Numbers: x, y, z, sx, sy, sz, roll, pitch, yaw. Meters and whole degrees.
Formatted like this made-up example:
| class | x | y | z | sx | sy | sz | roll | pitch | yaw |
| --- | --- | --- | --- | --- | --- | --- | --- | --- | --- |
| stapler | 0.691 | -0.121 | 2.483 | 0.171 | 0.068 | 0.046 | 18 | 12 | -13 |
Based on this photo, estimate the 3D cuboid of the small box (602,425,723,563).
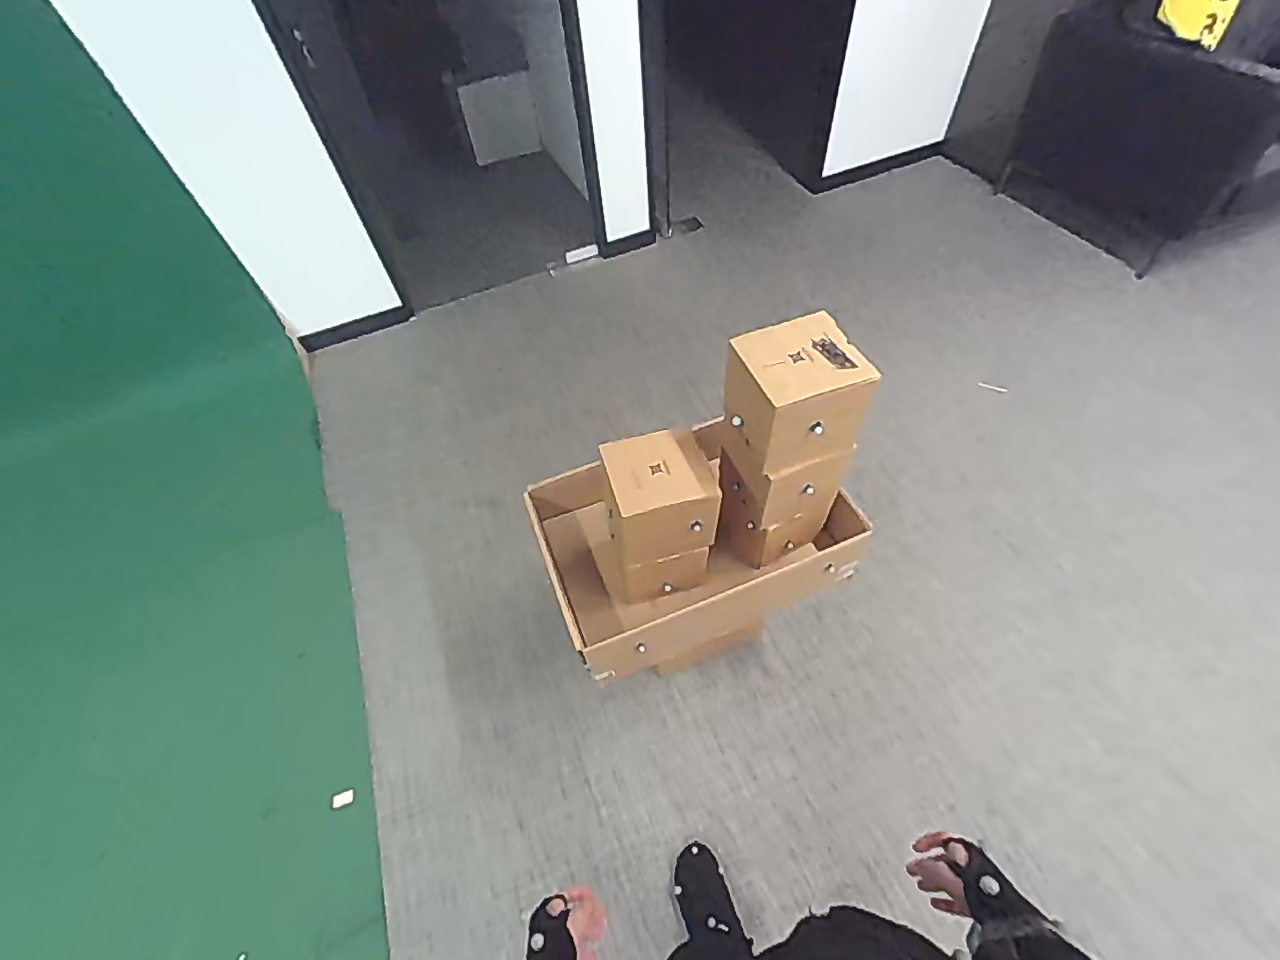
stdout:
| class | x | y | z | sx | sy | sz | roll | pitch | yaw |
| --- | --- | --- | --- | --- | --- | --- | --- | --- | --- |
| small box | 0.036 | 0.029 | 0.990 | 0.179 | 0.176 | 0.168 | -13 | 53 | -8 |

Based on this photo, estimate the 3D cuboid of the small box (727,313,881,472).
| class | x | y | z | sx | sy | sz | roll | pitch | yaw |
| --- | --- | --- | --- | --- | --- | --- | --- | --- | --- |
| small box | 0.255 | -0.141 | 0.891 | 0.179 | 0.176 | 0.168 | -18 | 55 | -7 |
